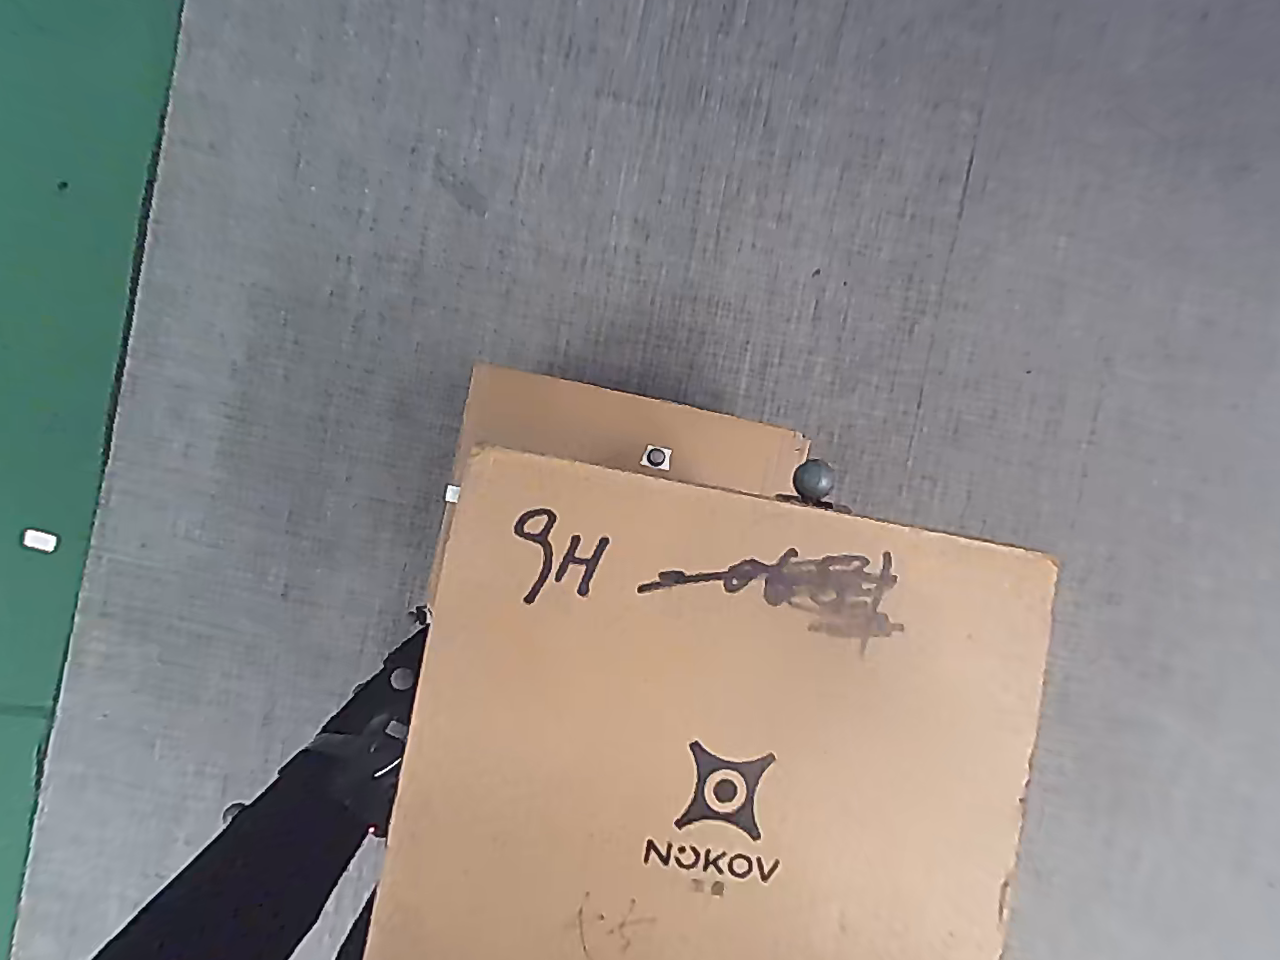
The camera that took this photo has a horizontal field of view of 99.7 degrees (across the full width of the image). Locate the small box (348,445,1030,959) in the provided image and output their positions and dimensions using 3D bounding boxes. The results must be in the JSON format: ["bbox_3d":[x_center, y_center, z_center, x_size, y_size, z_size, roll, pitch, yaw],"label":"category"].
[{"bbox_3d":[0.009,0.090,0.226,0.168,0.176,0.179,10,89,-3],"label":"small box"}]
